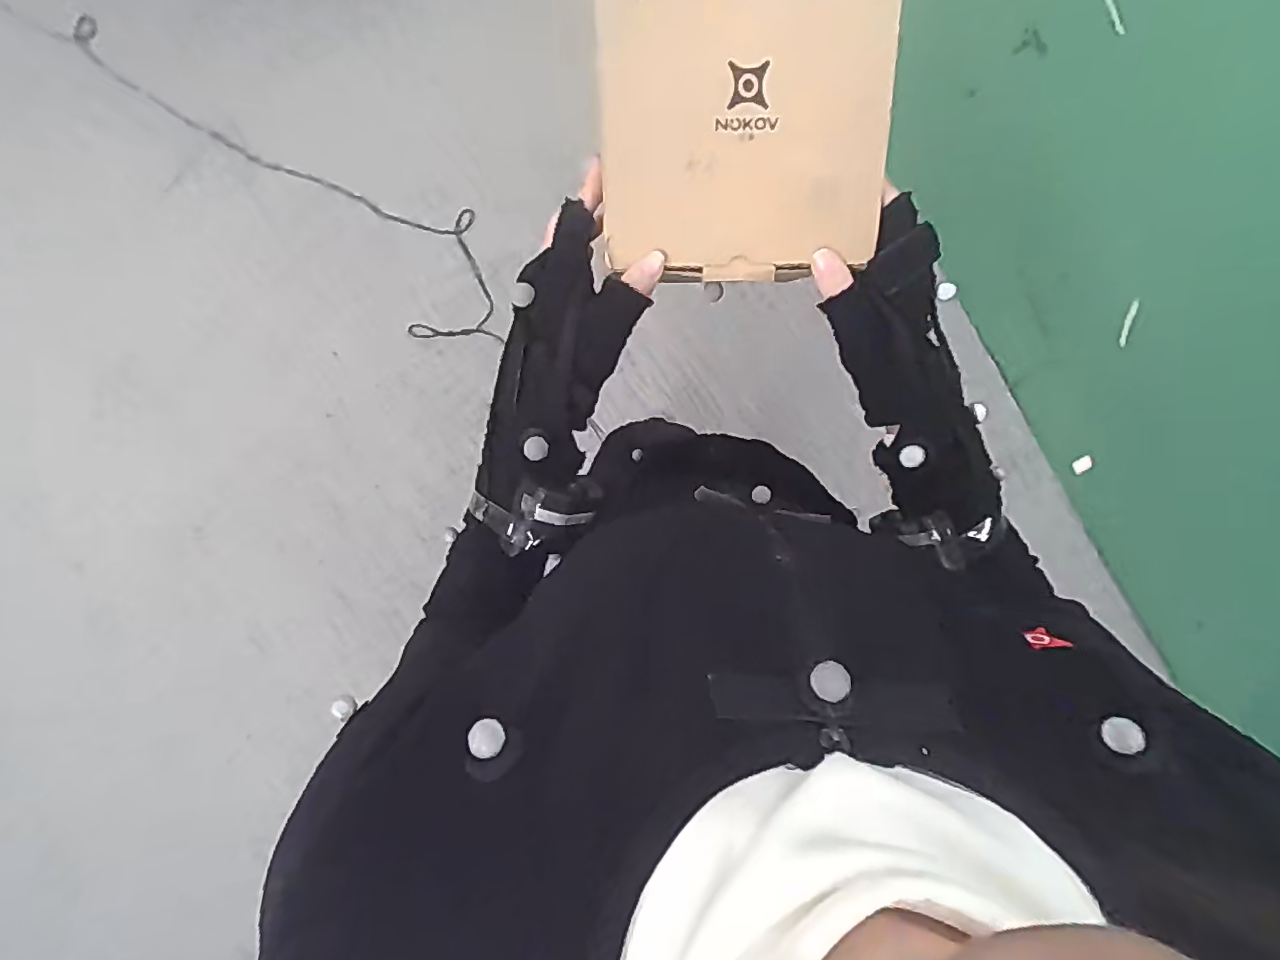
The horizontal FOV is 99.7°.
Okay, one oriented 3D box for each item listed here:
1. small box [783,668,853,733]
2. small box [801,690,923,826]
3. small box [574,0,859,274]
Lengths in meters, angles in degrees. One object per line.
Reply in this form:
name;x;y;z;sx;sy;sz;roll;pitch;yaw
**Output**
small box;0.489;0.604;1.368;0.168;0.176;0.179;-37;97;4
small box;0.485;0.618;1.221;0.179;0.176;0.168;-35;96;4
small box;0.046;-0.250;0.402;0.168;0.176;0.179;-4;108;0
